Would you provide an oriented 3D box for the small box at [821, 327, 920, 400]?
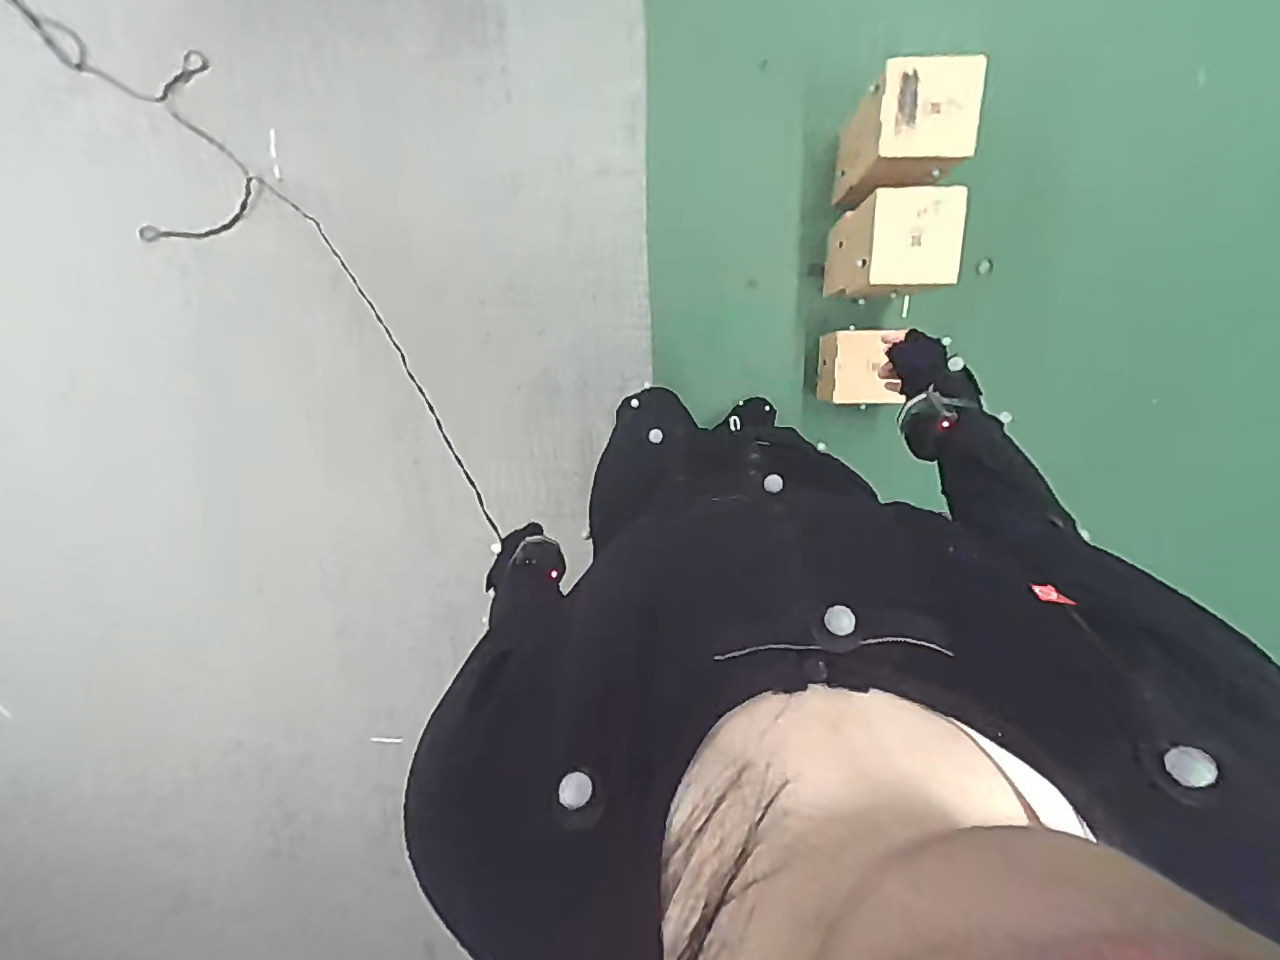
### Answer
[{"bbox_3d":[0.554,-0.285,1.321,0.179,0.176,0.168,1,102,7],"label":"small box"}]
